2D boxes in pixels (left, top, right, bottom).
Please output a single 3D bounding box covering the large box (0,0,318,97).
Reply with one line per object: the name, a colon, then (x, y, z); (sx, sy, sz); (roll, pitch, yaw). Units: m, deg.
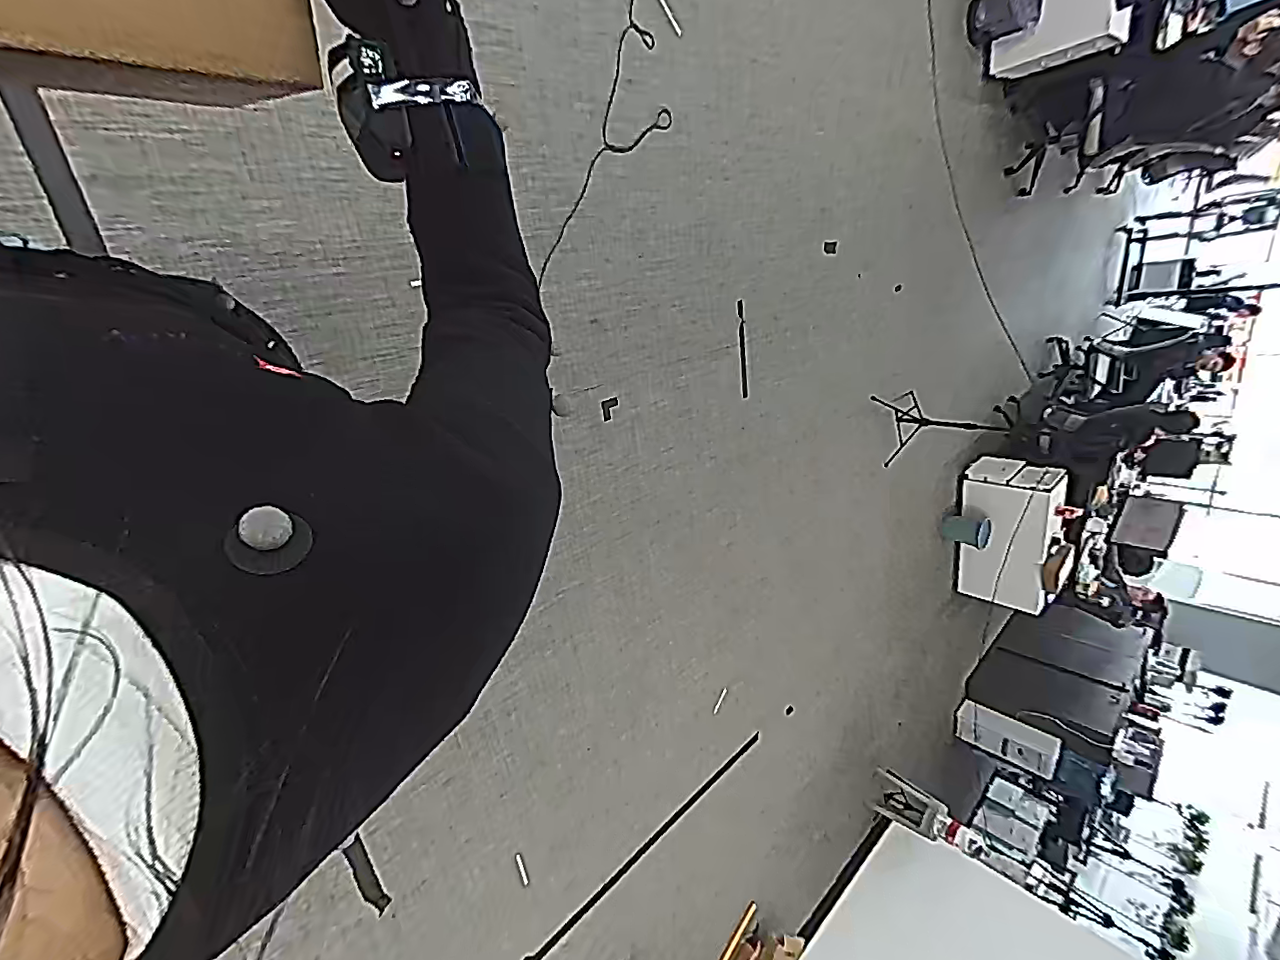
large box: (-0.448, -0.393, 0.254); (0.408, 0.320, 0.320); (-21, 129, -36)
